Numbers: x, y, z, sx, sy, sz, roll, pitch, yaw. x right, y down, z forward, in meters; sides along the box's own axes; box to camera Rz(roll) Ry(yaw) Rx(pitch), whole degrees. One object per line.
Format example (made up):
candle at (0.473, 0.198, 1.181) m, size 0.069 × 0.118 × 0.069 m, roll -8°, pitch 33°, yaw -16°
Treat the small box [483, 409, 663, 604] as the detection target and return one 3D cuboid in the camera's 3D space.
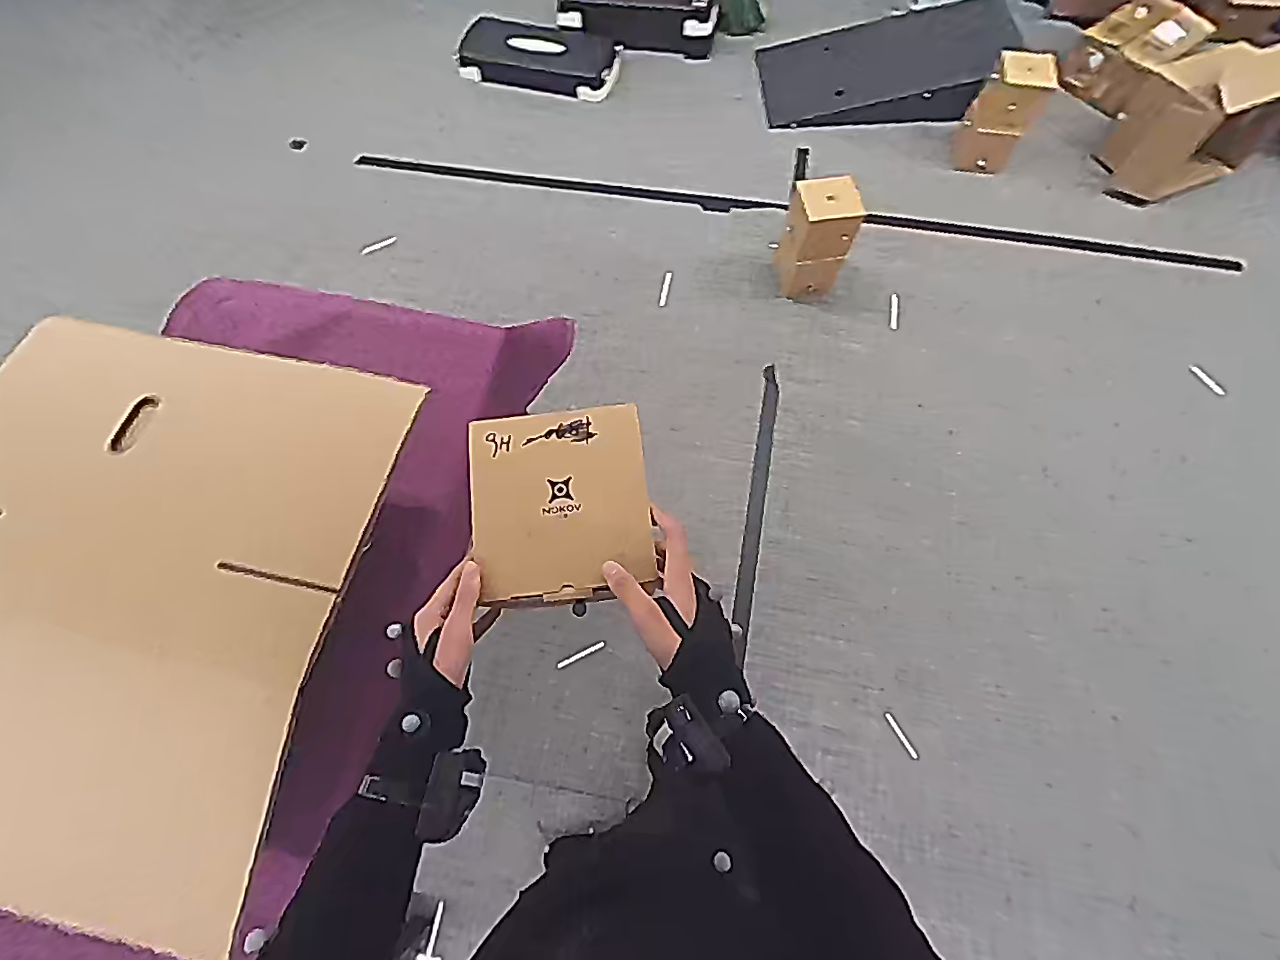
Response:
small box at (-0.064, 0.039, 0.588) m, size 0.168 × 0.176 × 0.179 m, roll -6°, pitch 76°, yaw -1°
